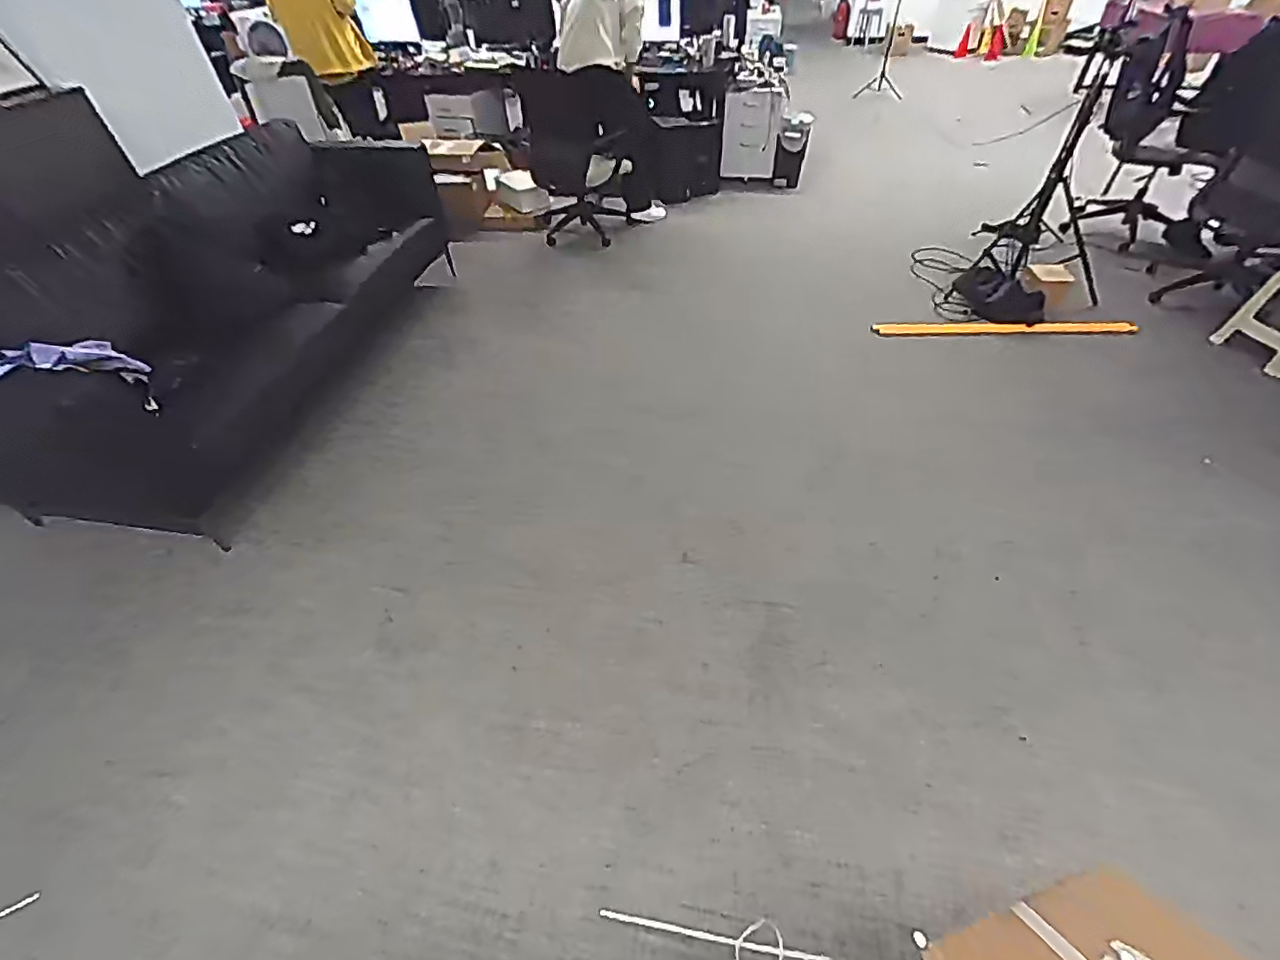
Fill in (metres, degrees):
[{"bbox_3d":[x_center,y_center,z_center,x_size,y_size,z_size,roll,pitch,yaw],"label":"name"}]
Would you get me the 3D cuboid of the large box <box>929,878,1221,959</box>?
[{"bbox_3d":[0.601,0.755,0.570,0.320,0.408,0.320,-19,87,-5],"label":"large box"}]
